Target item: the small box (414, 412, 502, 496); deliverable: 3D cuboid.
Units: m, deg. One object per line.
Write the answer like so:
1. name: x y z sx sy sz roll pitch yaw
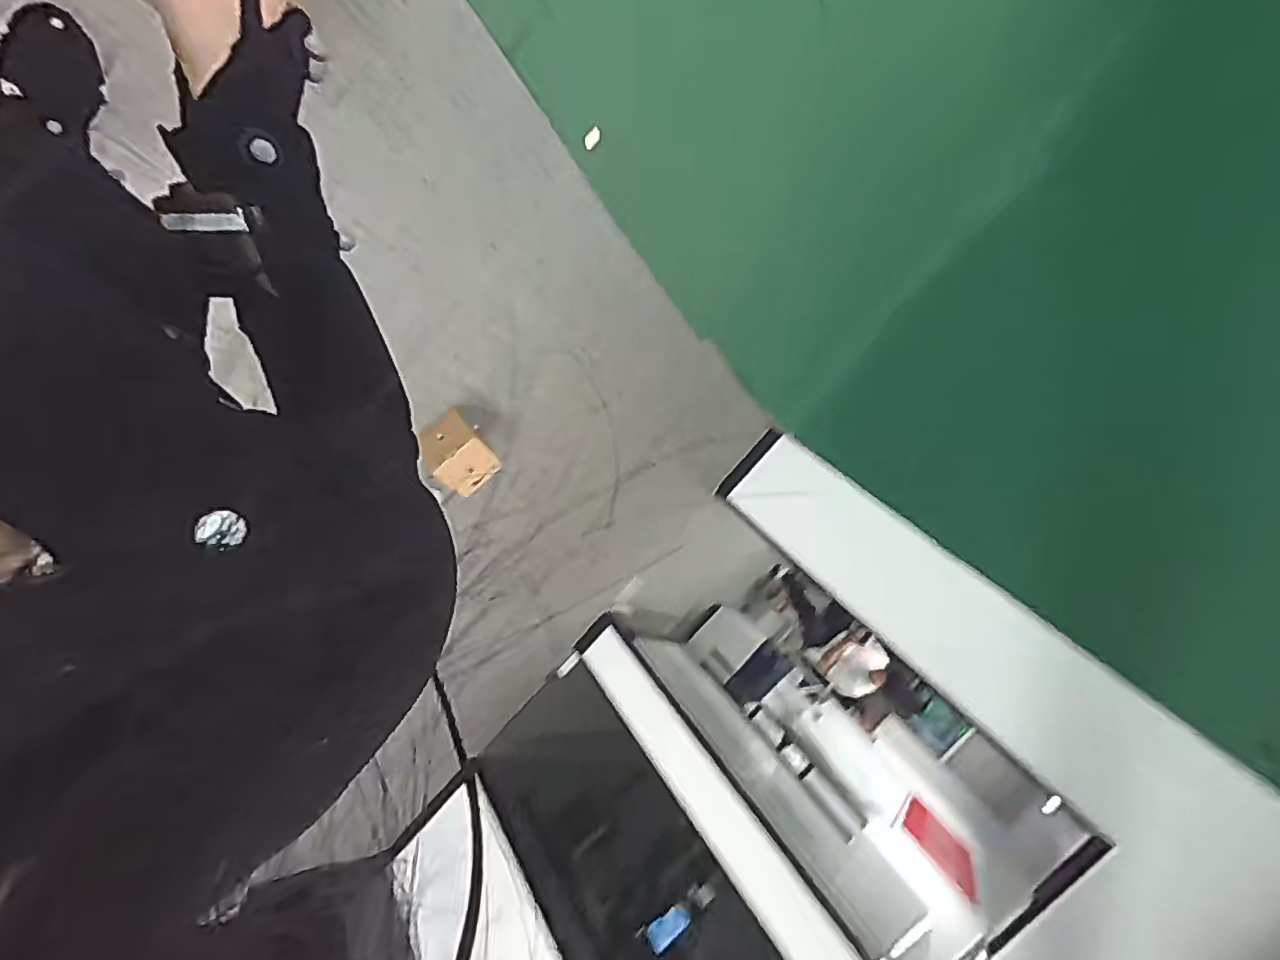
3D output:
1. small box: -0.574 -0.089 1.693 0.168 0.176 0.179 -41 145 -5
